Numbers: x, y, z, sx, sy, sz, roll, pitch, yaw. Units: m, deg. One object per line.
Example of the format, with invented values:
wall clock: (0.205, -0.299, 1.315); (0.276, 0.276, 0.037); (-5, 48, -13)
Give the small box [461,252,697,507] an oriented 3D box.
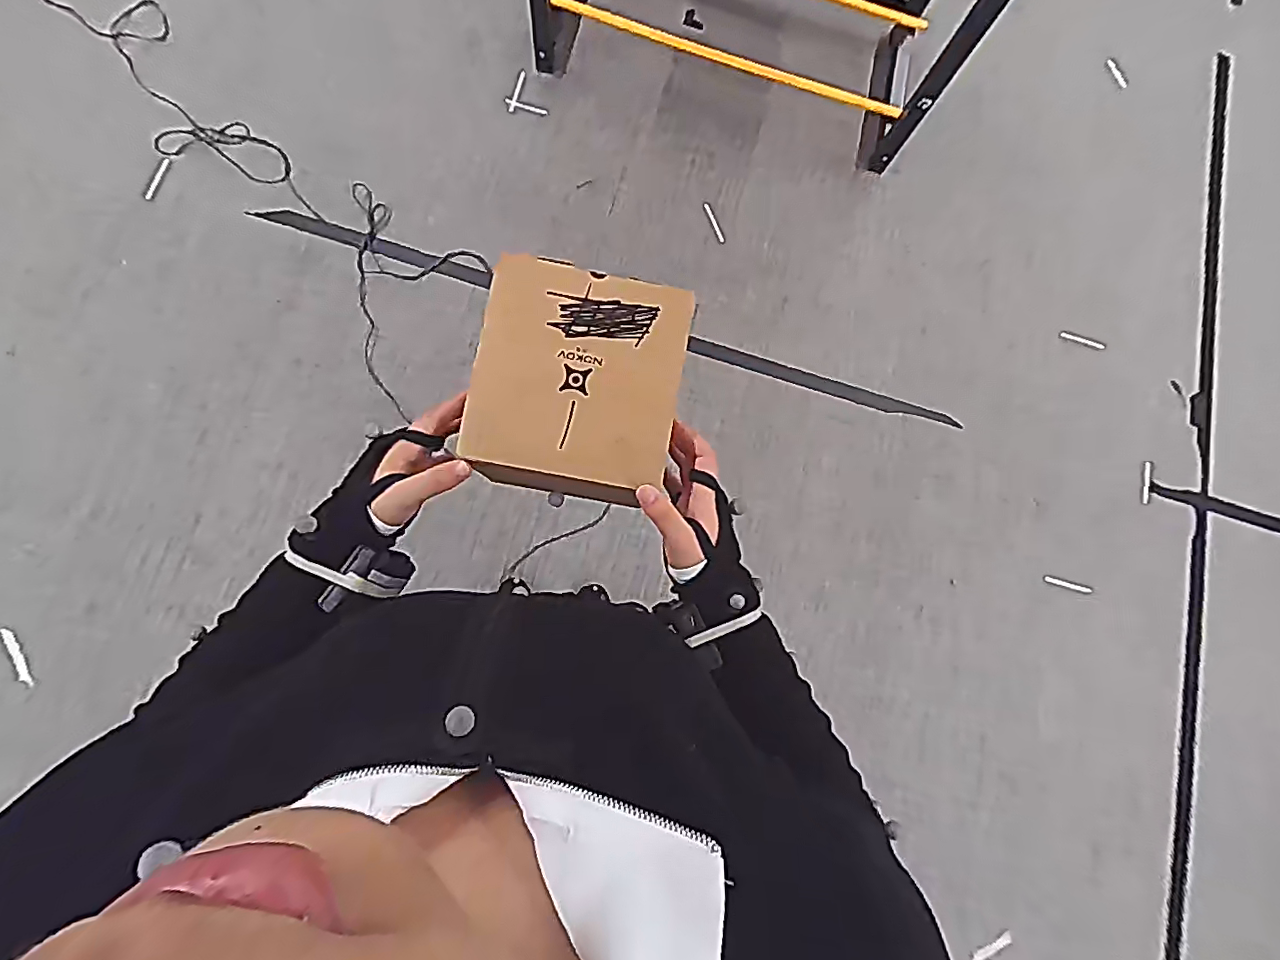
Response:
small box: (-0.054, -0.078, 0.514); (0.168, 0.176, 0.179); (11, 82, -4)
